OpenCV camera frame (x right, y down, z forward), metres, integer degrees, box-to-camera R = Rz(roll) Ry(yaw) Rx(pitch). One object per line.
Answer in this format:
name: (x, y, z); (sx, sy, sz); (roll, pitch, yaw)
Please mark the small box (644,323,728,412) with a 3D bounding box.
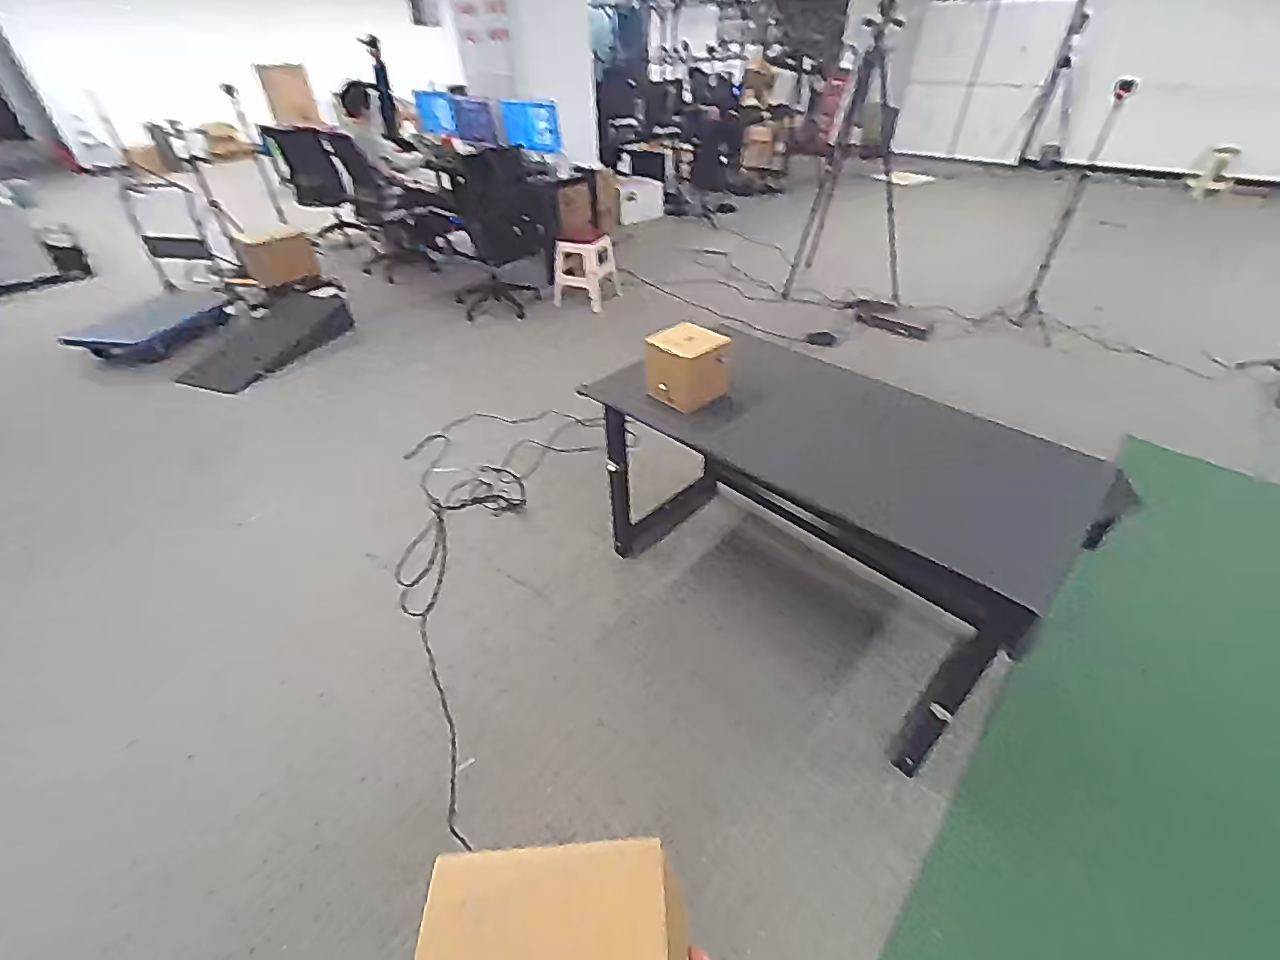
small box: (0.122, -0.317, 1.518); (0.179, 0.176, 0.168); (-30, 48, -32)
